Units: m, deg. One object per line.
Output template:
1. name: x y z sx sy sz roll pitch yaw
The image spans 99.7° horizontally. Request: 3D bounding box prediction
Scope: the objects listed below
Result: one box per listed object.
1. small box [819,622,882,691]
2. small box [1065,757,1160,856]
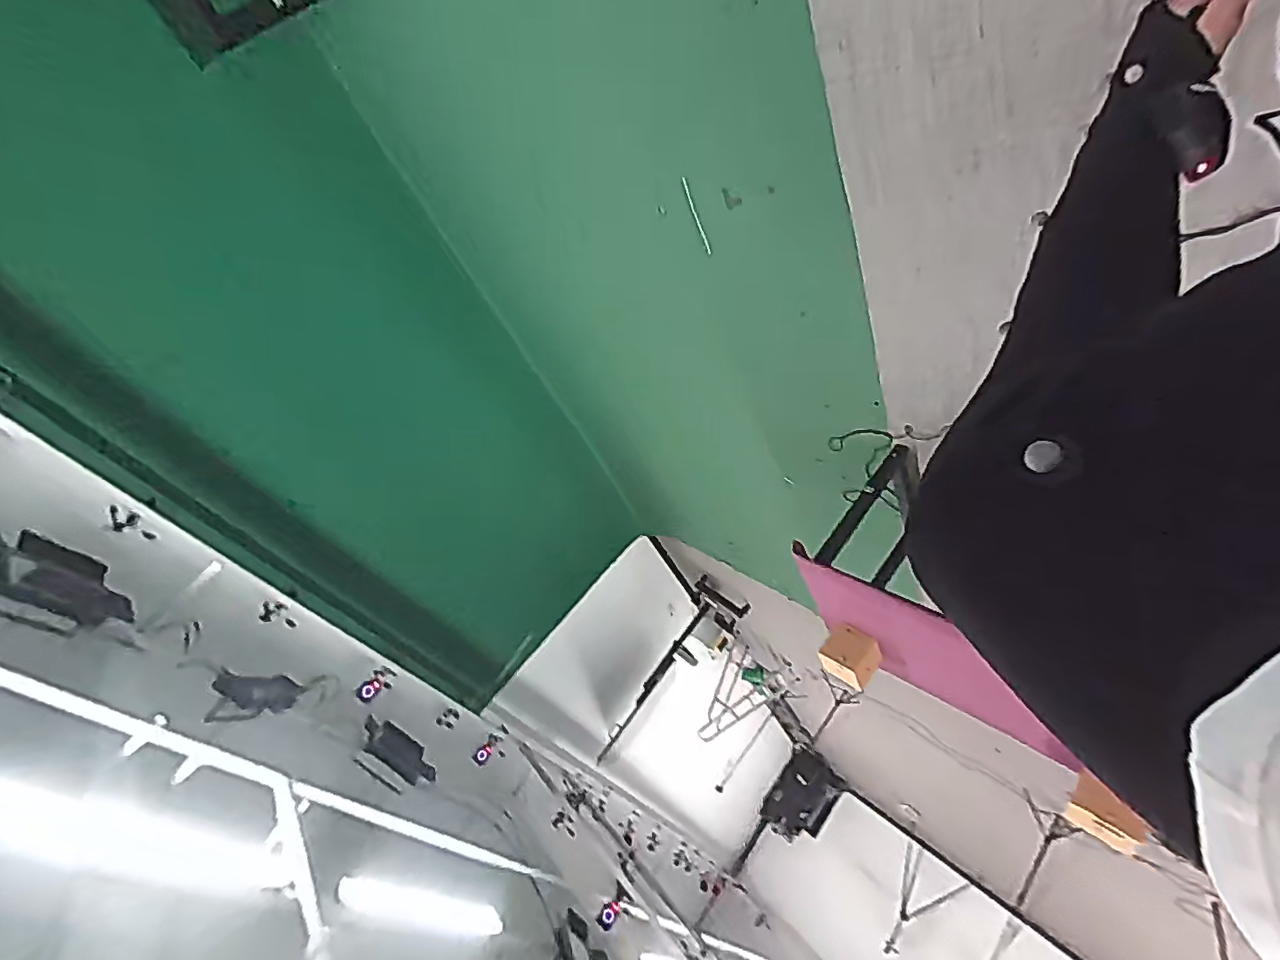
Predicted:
1. small box: 0.861 0.713 2.197 0.168 0.176 0.179 21 153 47
2. small box: 1.412 0.971 1.618 0.168 0.176 0.179 25 154 45
